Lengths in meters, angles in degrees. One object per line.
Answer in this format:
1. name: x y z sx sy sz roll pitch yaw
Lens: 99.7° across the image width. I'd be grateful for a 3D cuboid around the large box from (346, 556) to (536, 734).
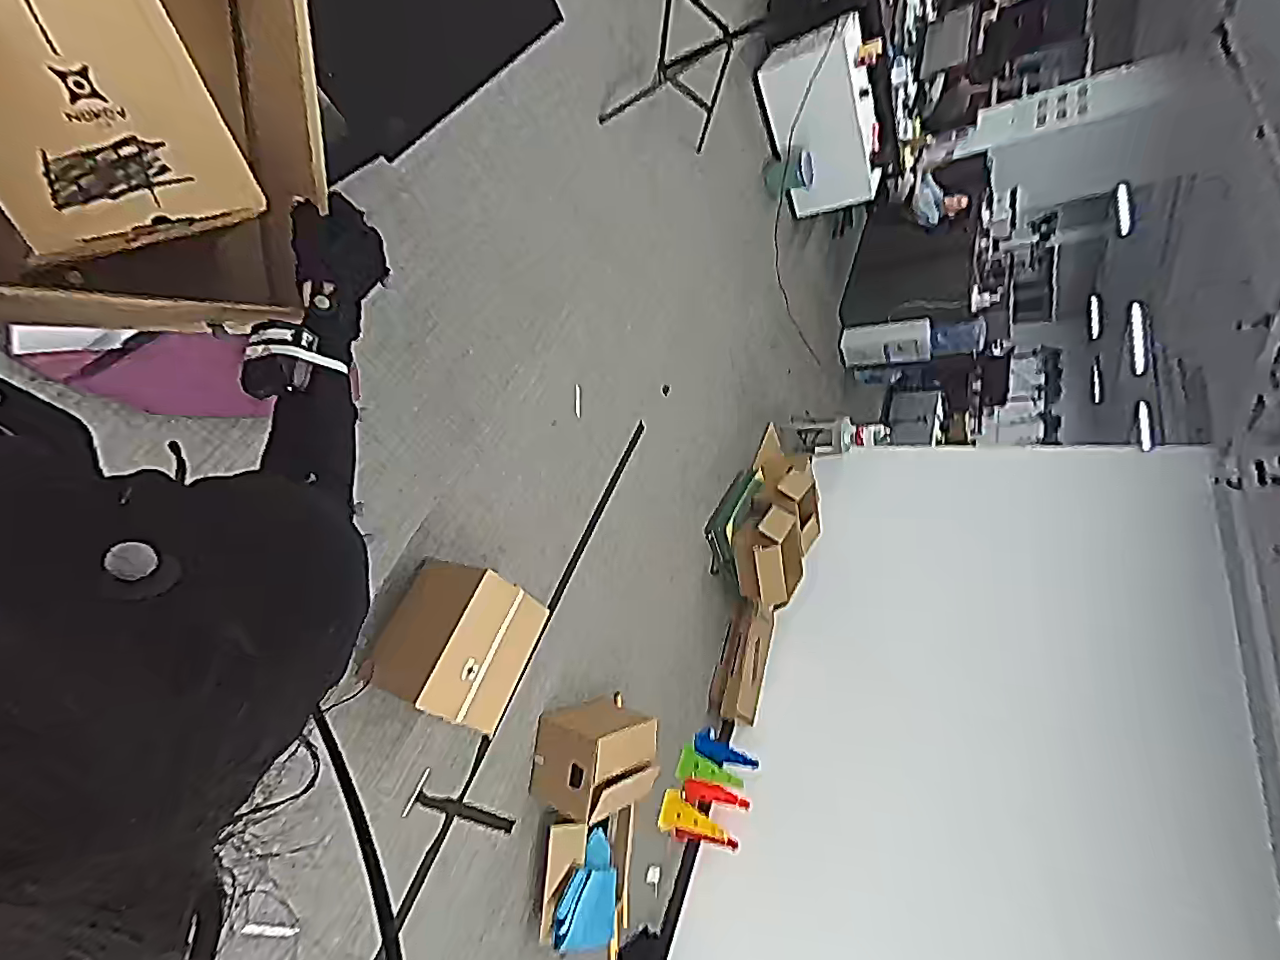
1. large box: -0.593 0.492 1.654 0.320 0.320 0.408 51 53 -43
